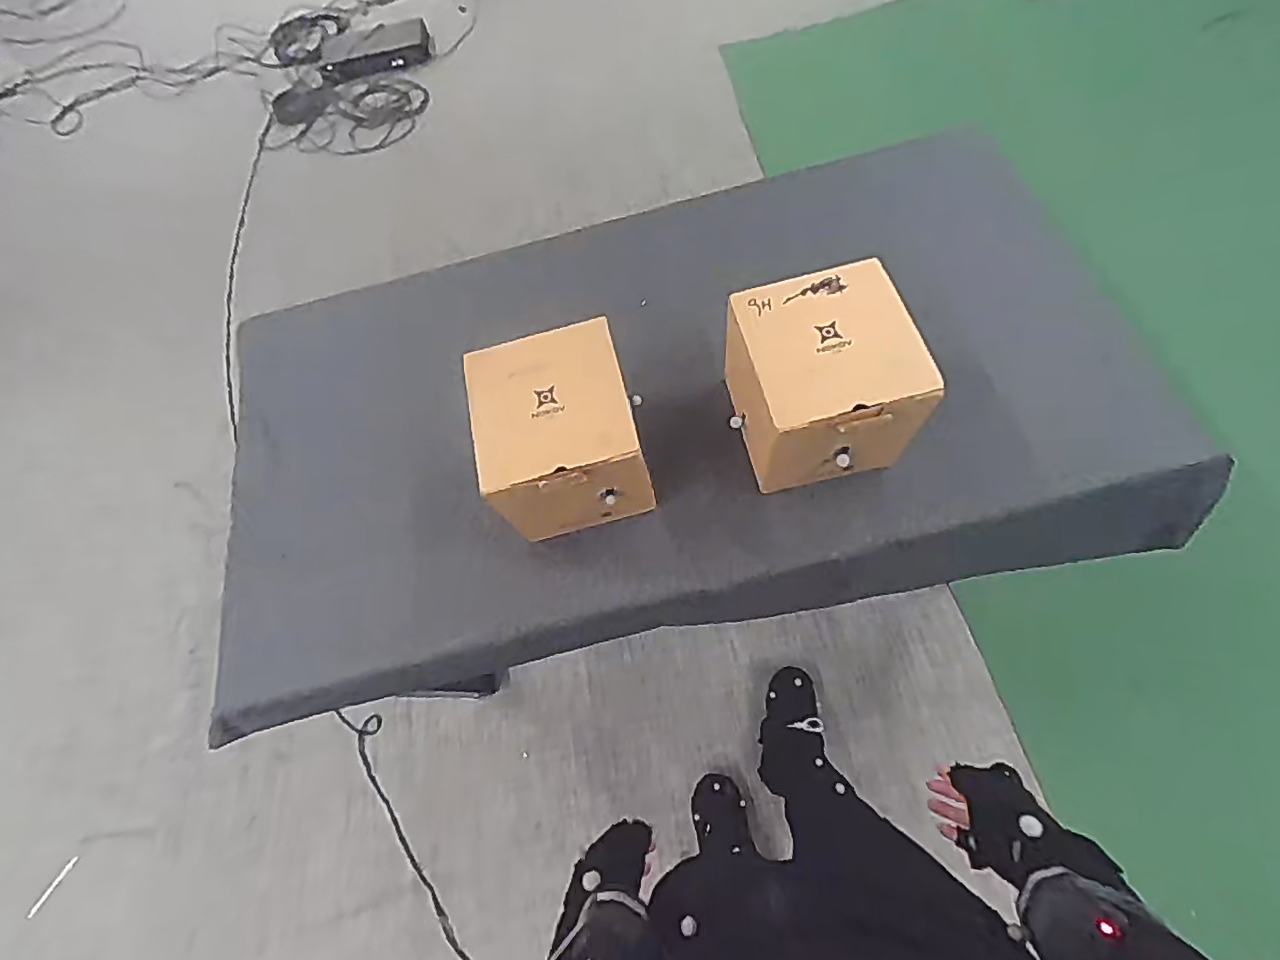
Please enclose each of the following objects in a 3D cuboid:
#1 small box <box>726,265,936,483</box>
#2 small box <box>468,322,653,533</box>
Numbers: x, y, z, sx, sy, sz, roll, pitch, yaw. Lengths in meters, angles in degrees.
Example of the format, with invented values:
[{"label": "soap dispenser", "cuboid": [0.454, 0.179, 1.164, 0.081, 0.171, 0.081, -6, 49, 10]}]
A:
[{"label": "small box", "cuboid": [0.202, -0.109, 0.630, 0.168, 0.176, 0.179, -13, 67, 1]}, {"label": "small box", "cuboid": [-0.086, -0.049, 0.644, 0.168, 0.176, 0.179, -15, 65, -1]}]
